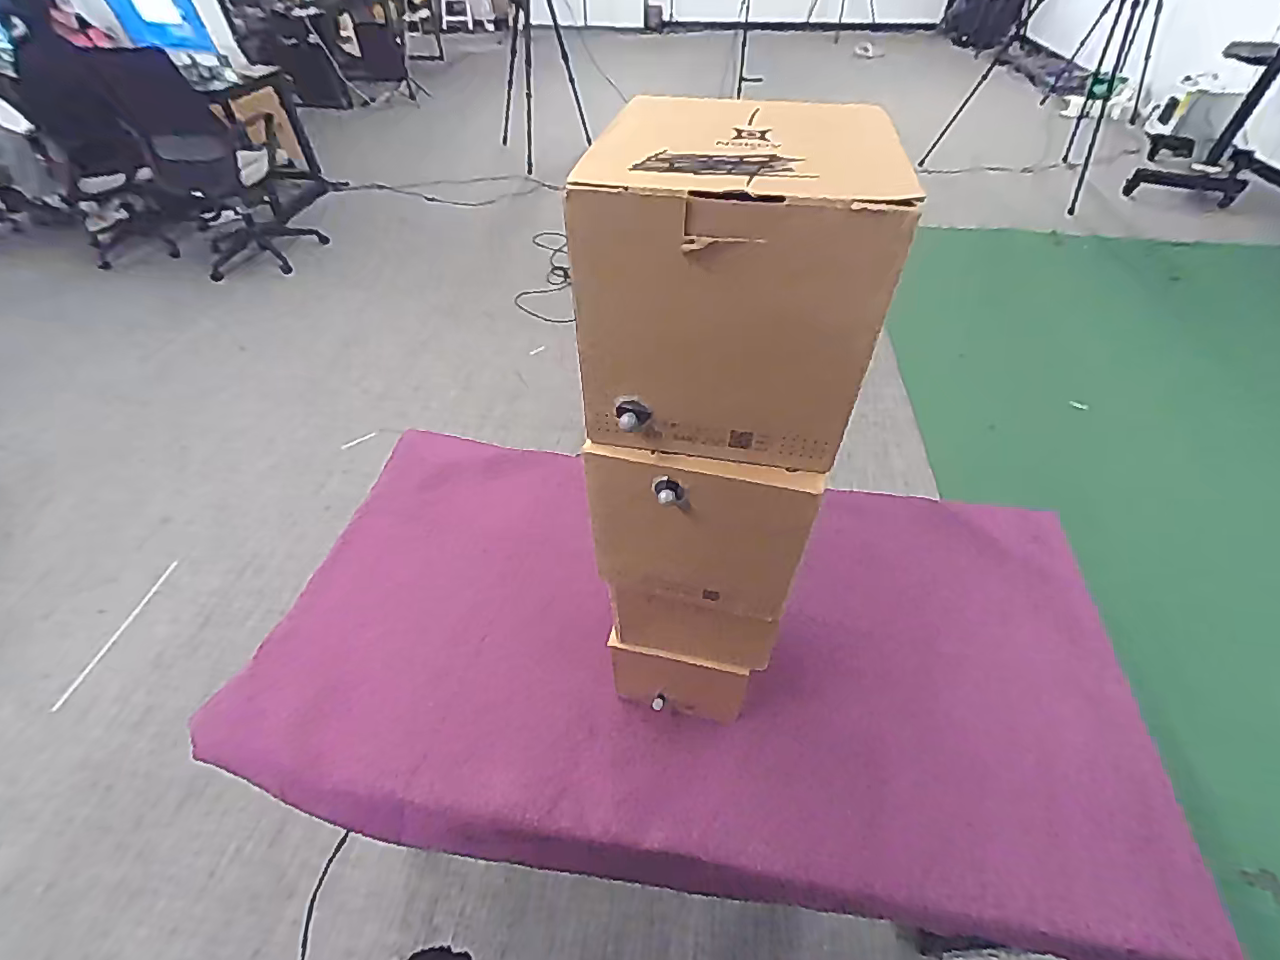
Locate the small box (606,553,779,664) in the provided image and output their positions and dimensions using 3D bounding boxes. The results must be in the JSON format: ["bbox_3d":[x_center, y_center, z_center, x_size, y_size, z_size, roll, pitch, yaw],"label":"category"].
[{"bbox_3d":[0.071,0.085,0.605,0.179,0.176,0.168,8,48,9],"label":"small box"}]

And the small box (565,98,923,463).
[{"bbox_3d":[0.061,-0.132,0.358,0.168,0.176,0.179,8,47,8],"label":"small box"}]

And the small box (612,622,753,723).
[{"bbox_3d":[0.066,0.194,0.724,0.168,0.176,0.179,9,49,10],"label":"small box"}]

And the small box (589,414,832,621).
[{"bbox_3d":[0.064,-0.009,0.469,0.168,0.176,0.179,10,48,11],"label":"small box"}]
